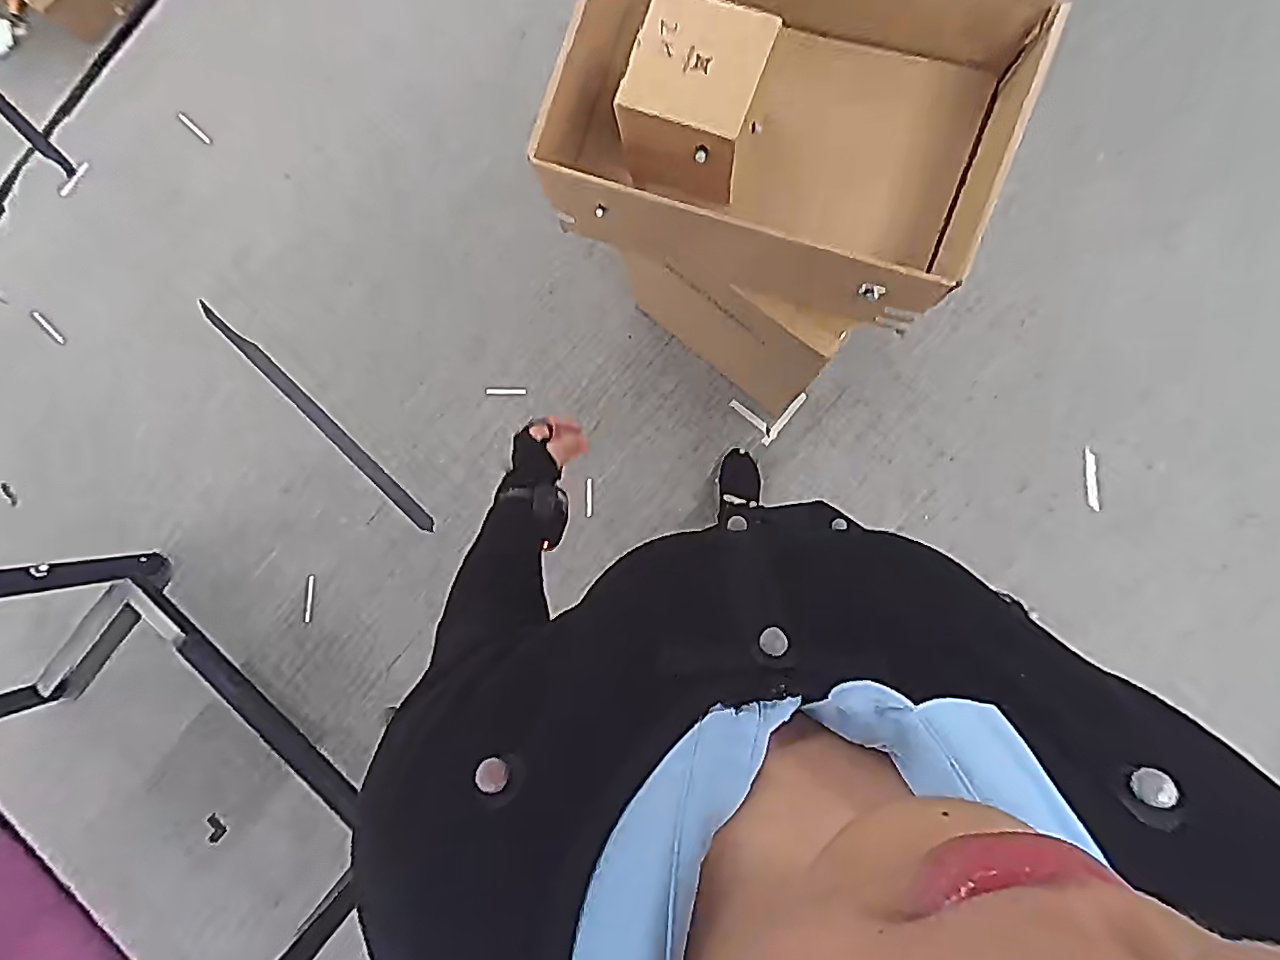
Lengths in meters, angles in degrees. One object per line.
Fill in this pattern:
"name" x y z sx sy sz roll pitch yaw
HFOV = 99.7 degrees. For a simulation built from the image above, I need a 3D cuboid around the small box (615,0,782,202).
"small box" 0.085 -0.539 0.786 0.179 0.176 0.168 21 91 7
